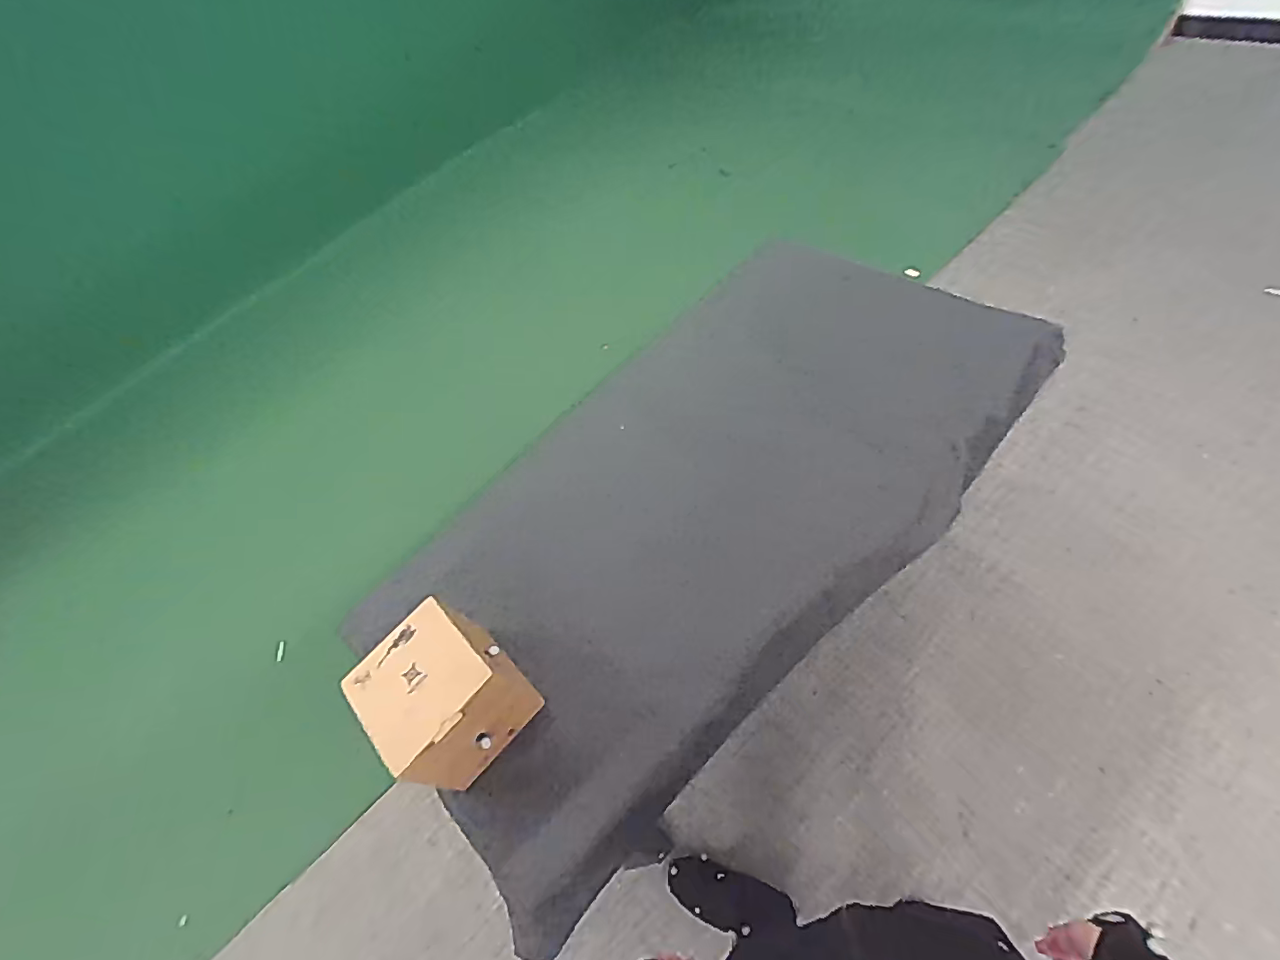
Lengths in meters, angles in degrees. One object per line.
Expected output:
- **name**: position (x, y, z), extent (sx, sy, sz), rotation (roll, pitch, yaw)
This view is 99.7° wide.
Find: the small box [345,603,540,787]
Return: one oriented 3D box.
- **small box**: position (-0.276, 0.316, 0.789), extent (0.179, 0.176, 0.168), rotation (36, 72, 31)
